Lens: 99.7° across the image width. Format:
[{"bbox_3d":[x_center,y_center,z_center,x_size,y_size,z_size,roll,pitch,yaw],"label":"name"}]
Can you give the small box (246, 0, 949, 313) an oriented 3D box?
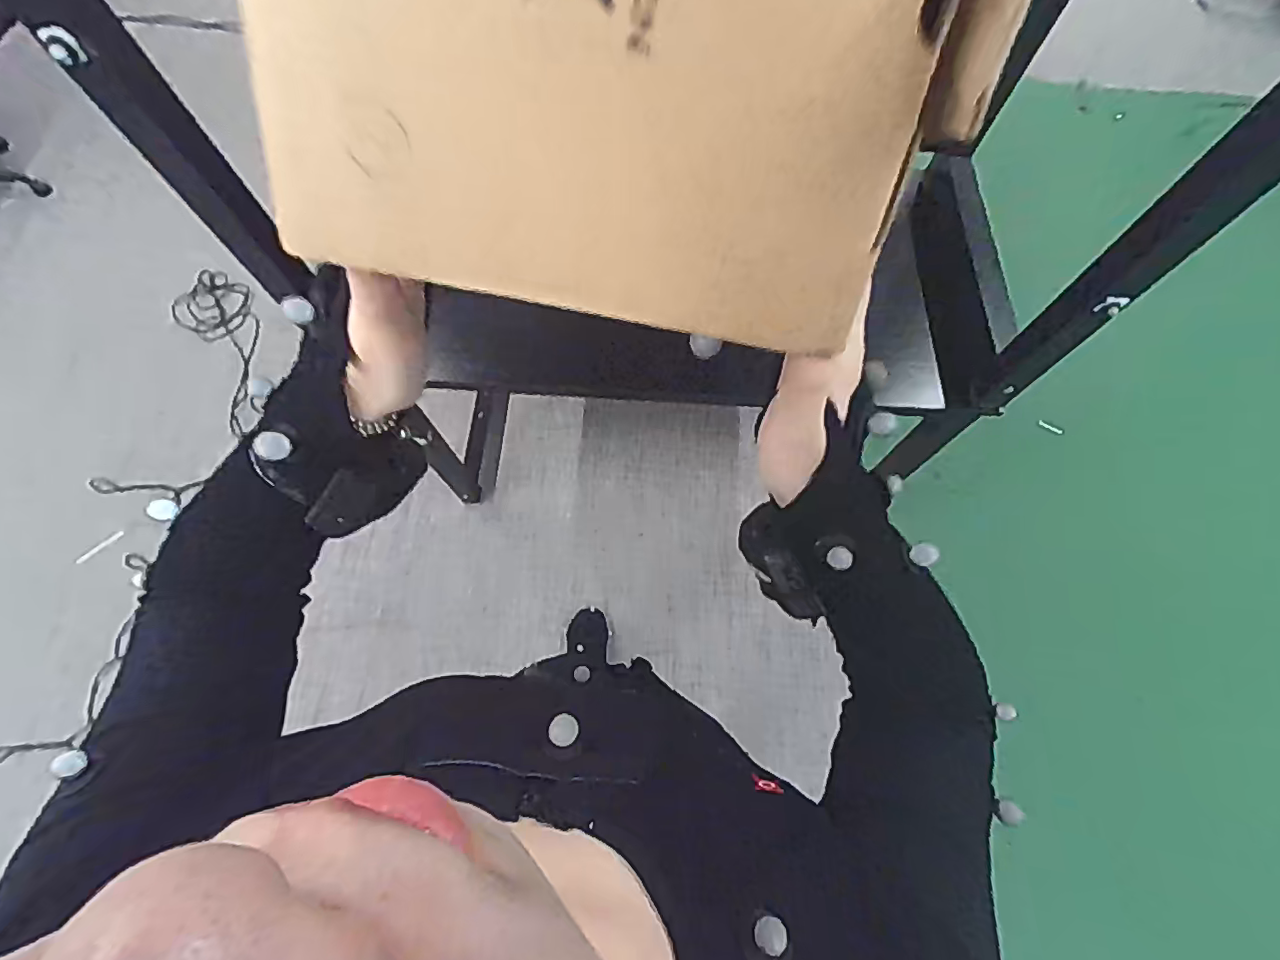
[{"bbox_3d":[-0.003,-0.174,0.191,0.179,0.168,0.176,11,31,0],"label":"small box"}]
